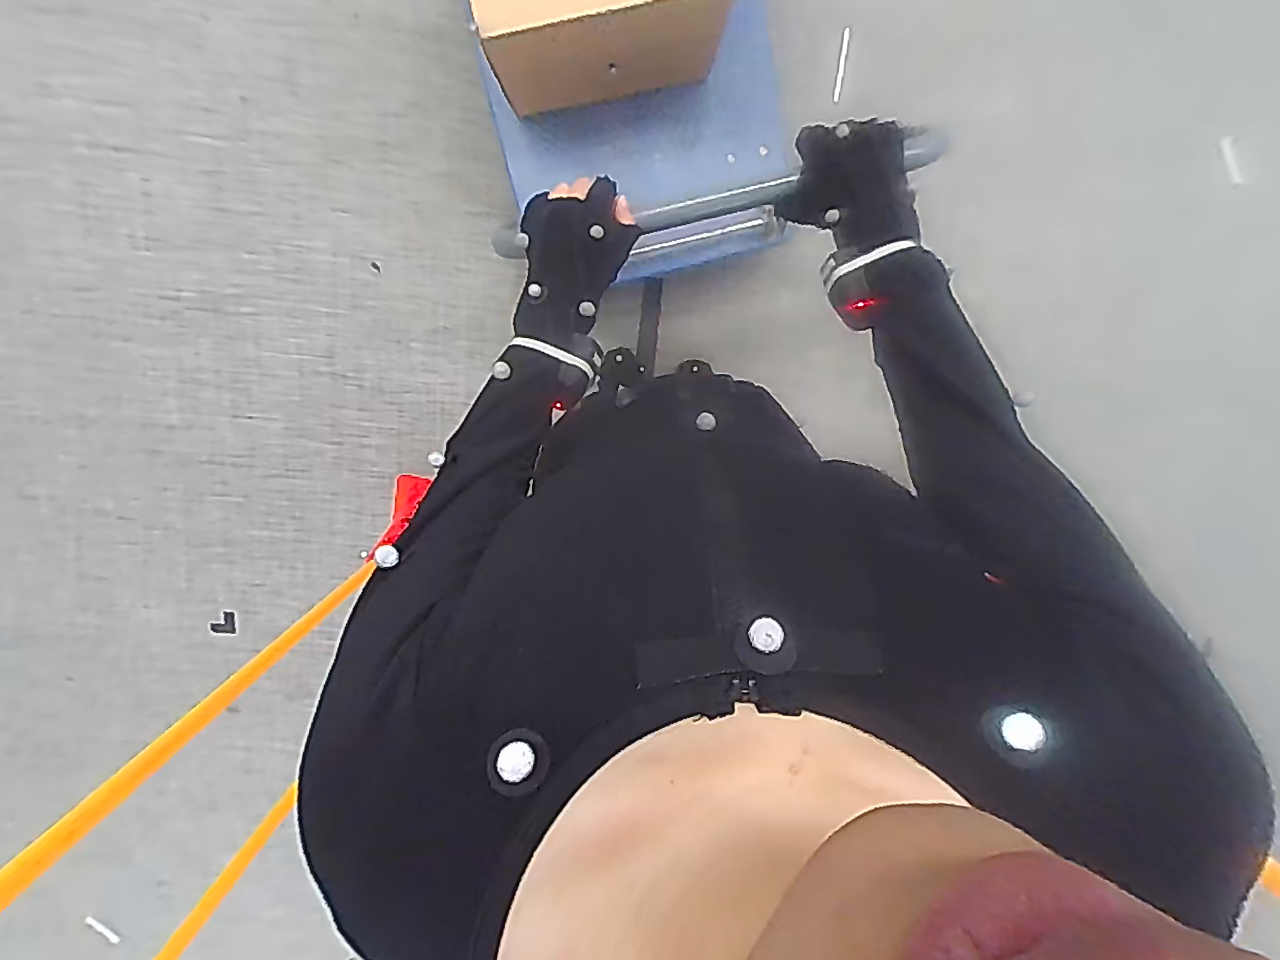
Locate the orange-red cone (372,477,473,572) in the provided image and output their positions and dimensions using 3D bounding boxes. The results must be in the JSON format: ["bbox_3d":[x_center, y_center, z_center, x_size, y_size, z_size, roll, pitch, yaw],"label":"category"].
[{"bbox_3d":[-0.563,0.138,1.323,0.198,0.360,0.199,12,102,-6],"label":"orange-red cone"}]

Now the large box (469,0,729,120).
[{"bbox_3d":[-0.085,-0.886,0.934,0.408,0.320,0.320,-11,104,2],"label":"large box"}]

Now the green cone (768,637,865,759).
[{"bbox_3d":[0.506,0.613,1.470,0.202,0.368,0.200,8,103,-5],"label":"green cone"}]
